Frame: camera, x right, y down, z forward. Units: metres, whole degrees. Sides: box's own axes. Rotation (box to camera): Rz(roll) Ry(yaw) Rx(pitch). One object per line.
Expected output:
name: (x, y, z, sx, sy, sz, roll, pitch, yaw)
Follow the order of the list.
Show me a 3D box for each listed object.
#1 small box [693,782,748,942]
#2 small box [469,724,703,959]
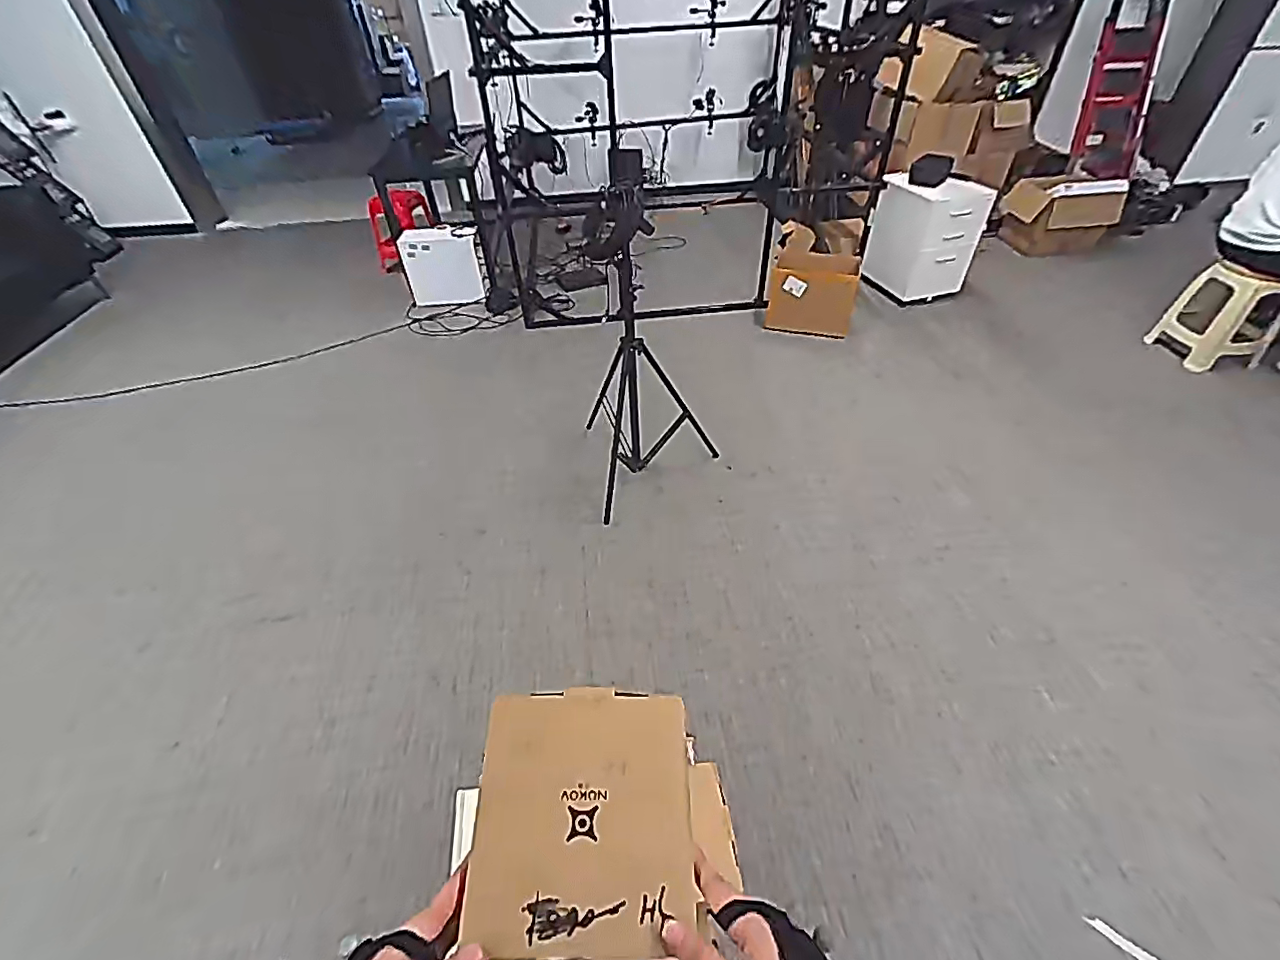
small box: (0.043, 0.573, 0.798, 0.179, 0.176, 0.168, -7, 44, -6)
small box: (-0.043, 0.330, 0.478, 0.168, 0.176, 0.179, 1, 53, -3)
